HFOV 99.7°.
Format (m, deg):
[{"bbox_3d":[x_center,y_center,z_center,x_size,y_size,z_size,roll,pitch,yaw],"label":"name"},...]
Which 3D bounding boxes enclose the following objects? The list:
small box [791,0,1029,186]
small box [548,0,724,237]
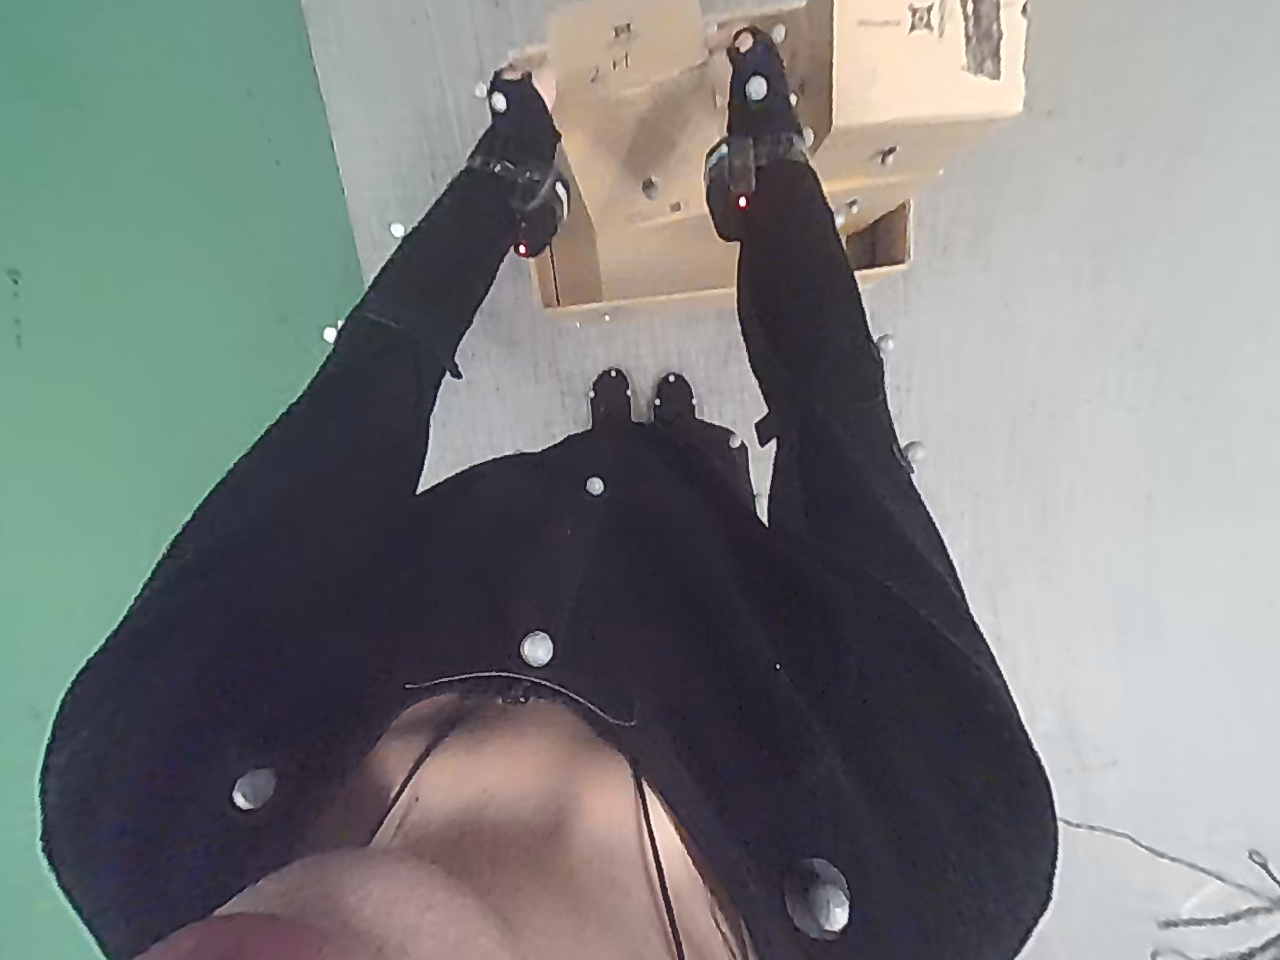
[{"bbox_3d":[0.266,-0.427,0.567,0.179,0.176,0.168,-2,101,5],"label":"small box"},{"bbox_3d":[0.001,-0.423,0.630,0.168,0.176,0.179,-9,67,12],"label":"small box"}]
